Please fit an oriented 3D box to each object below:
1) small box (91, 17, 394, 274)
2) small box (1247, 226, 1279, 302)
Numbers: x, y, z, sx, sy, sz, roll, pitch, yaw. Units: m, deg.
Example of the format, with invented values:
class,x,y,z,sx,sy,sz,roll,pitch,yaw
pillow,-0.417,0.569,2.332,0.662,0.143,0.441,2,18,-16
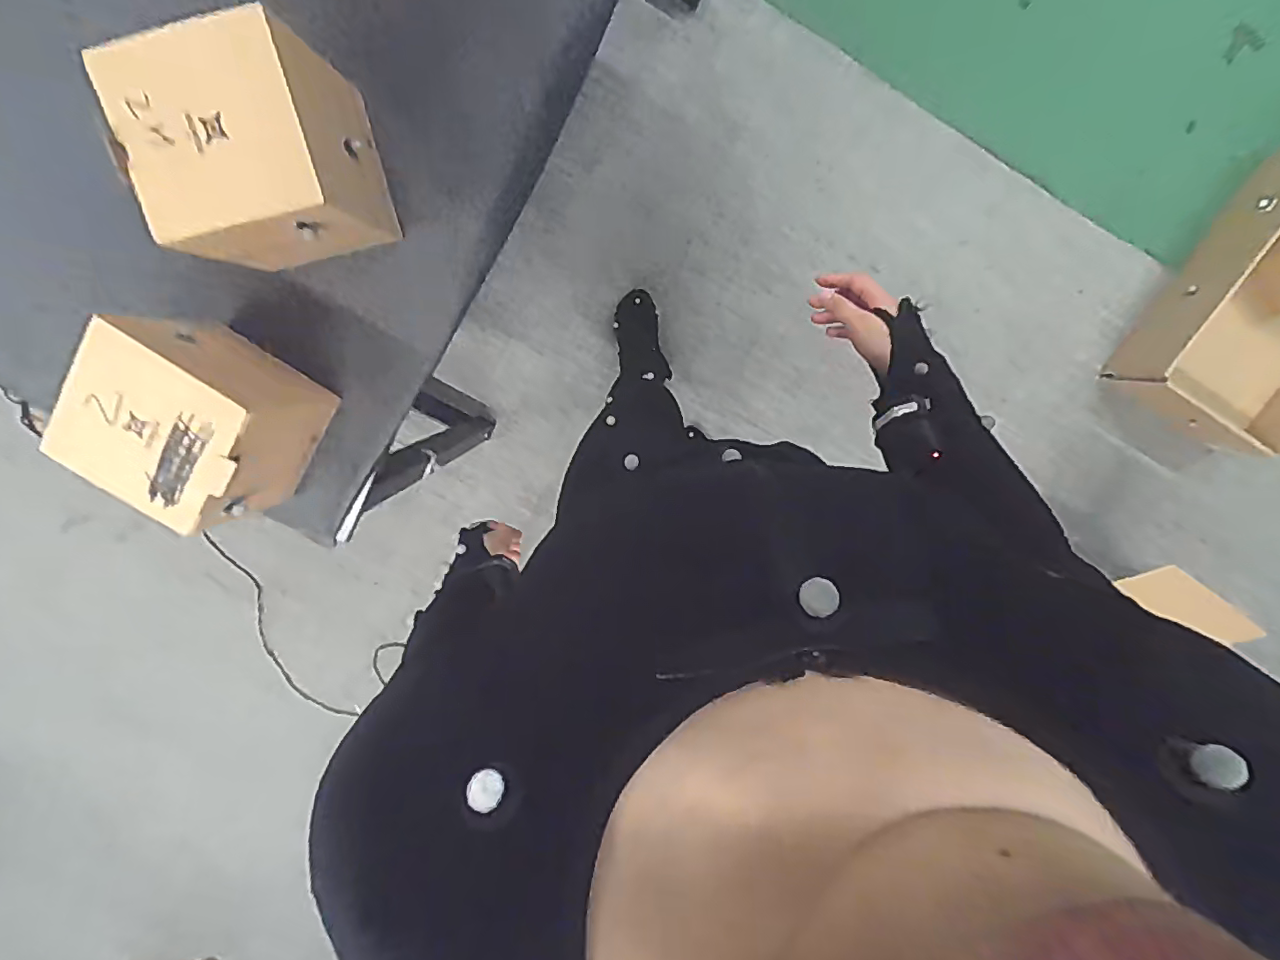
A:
class,x,y,z,sx,sy,sz,roll,pitch,yaw
small box,-0.388,-0.329,0.571,0.179,0.176,0.168,-12,102,4
small box,1.549,-0.507,1.205,0.179,0.176,0.168,44,101,-10
